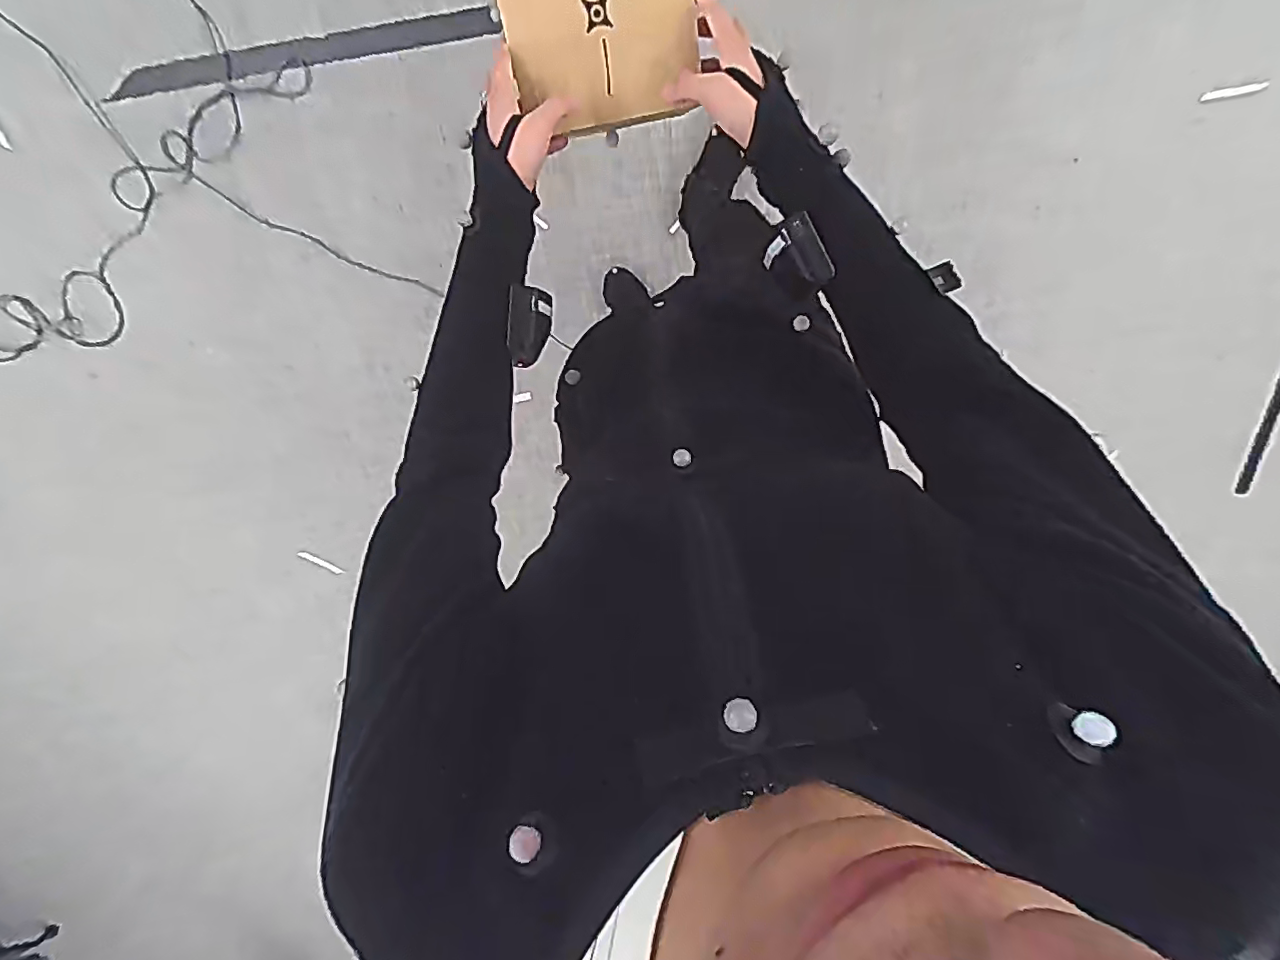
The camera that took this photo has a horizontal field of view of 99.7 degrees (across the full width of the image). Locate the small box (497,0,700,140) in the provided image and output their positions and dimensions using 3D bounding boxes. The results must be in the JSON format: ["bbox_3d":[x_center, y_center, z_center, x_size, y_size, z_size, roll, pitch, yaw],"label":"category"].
[{"bbox_3d":[-0.043,-0.444,0.522,0.168,0.176,0.179,-10,122,3],"label":"small box"}]
